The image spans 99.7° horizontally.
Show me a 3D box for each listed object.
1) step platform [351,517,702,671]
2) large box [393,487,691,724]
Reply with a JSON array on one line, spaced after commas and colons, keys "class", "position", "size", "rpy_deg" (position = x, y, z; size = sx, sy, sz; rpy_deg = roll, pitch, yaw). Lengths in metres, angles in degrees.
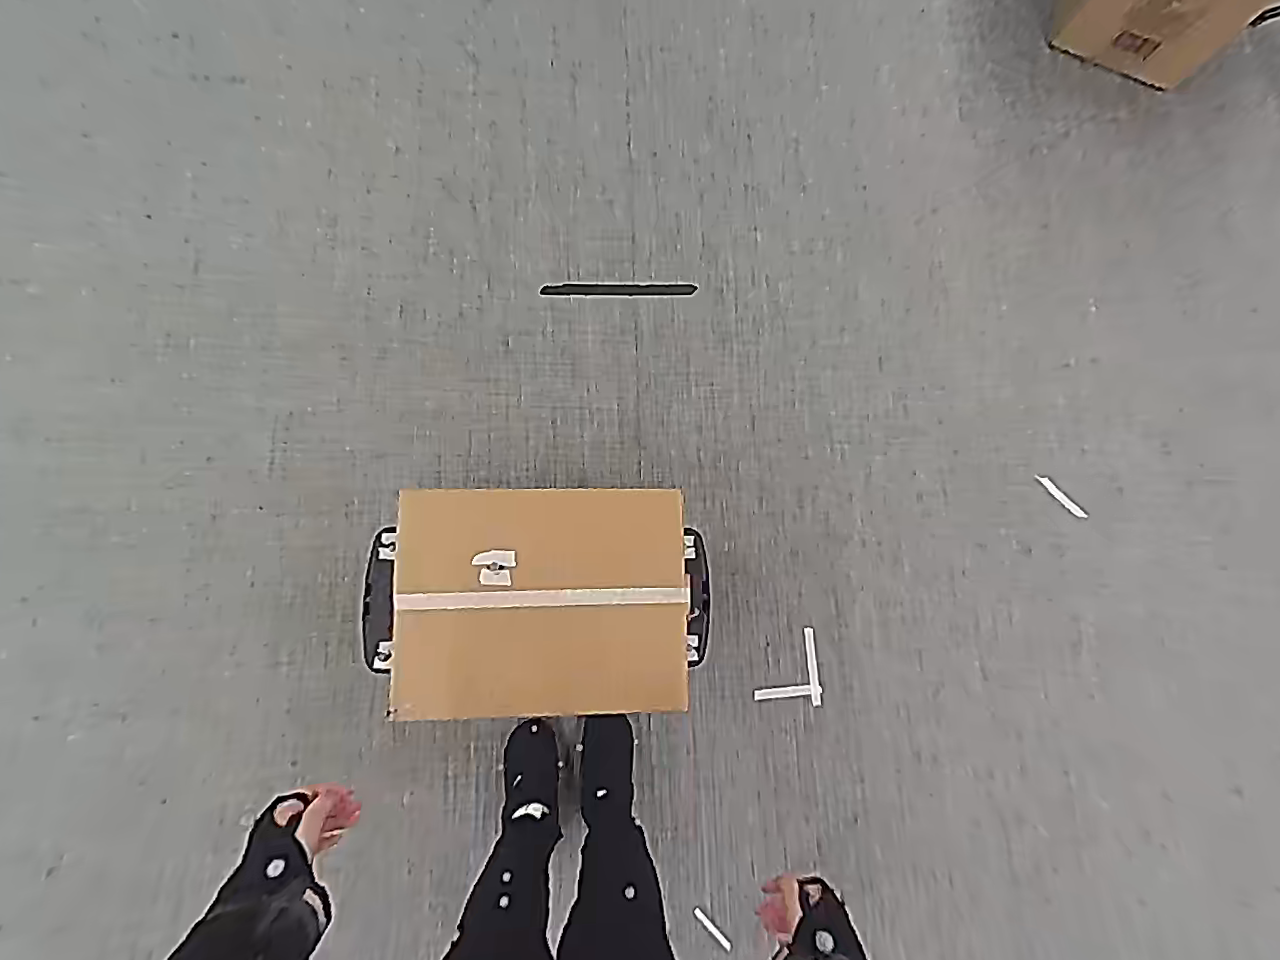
[{"class": "step platform", "position": [-0.214, 0.247, 1.122], "size": [0.684, 0.204, 0.286], "rpy_deg": [5, 80, -3]}, {"class": "large box", "position": [-0.141, 0.190, 0.895], "size": [0.408, 0.320, 0.320], "rpy_deg": [0, 80, -4]}]
